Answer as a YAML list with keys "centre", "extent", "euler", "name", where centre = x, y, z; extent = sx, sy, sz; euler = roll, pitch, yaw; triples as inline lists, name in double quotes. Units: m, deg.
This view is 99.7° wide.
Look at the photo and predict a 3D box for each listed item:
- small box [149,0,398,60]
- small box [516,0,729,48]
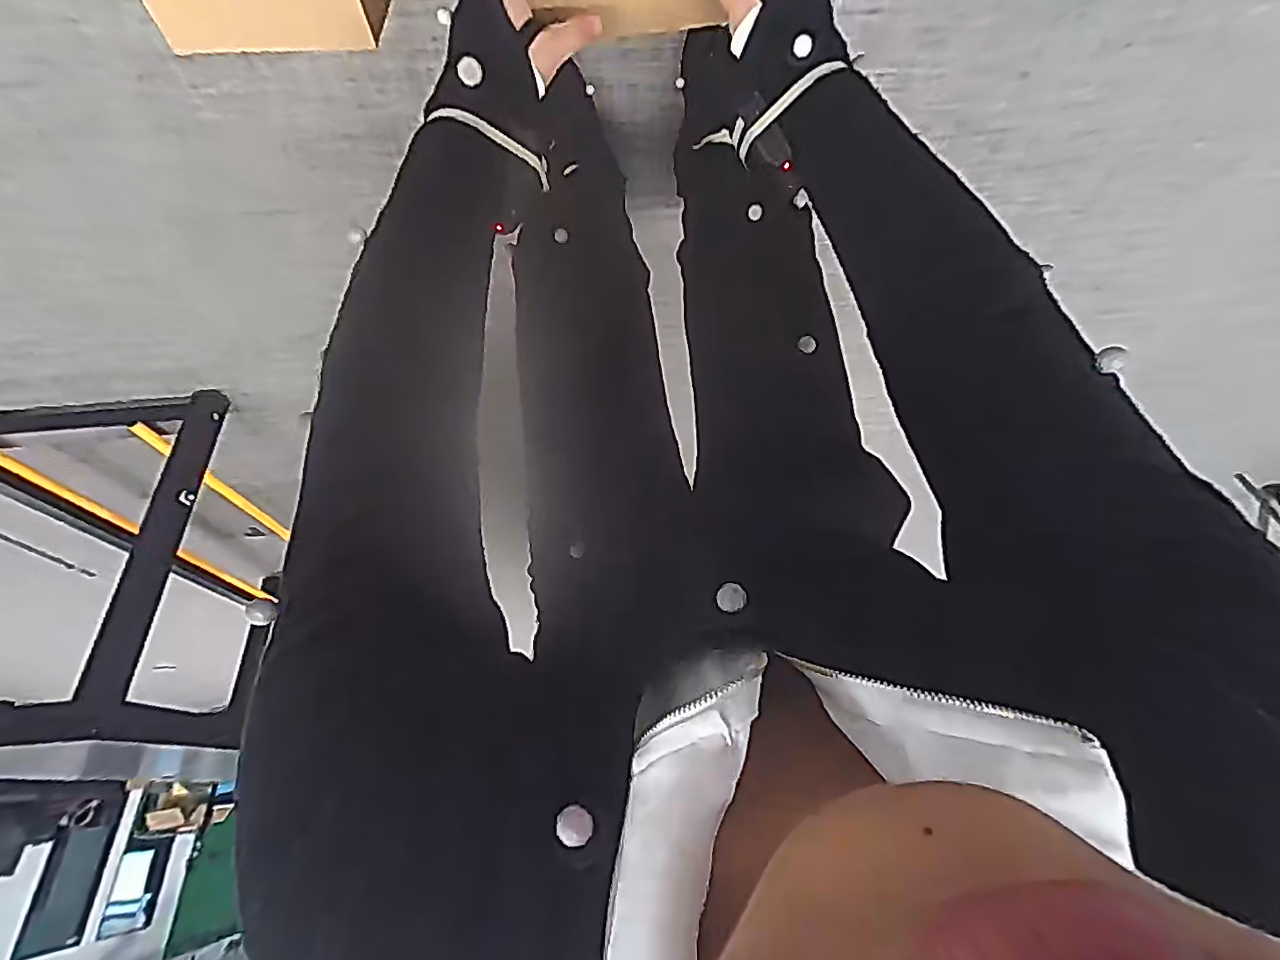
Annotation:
- centre: [-0.304, -0.469, 0.422]
  extent: [0.168, 0.176, 0.179]
  euler: [-3, 151, -3]
  name: "small box"
- centre: [-0.022, -0.486, 0.431]
  extent: [0.179, 0.176, 0.168]
  euler: [-7, 152, 0]
  name: "small box"
